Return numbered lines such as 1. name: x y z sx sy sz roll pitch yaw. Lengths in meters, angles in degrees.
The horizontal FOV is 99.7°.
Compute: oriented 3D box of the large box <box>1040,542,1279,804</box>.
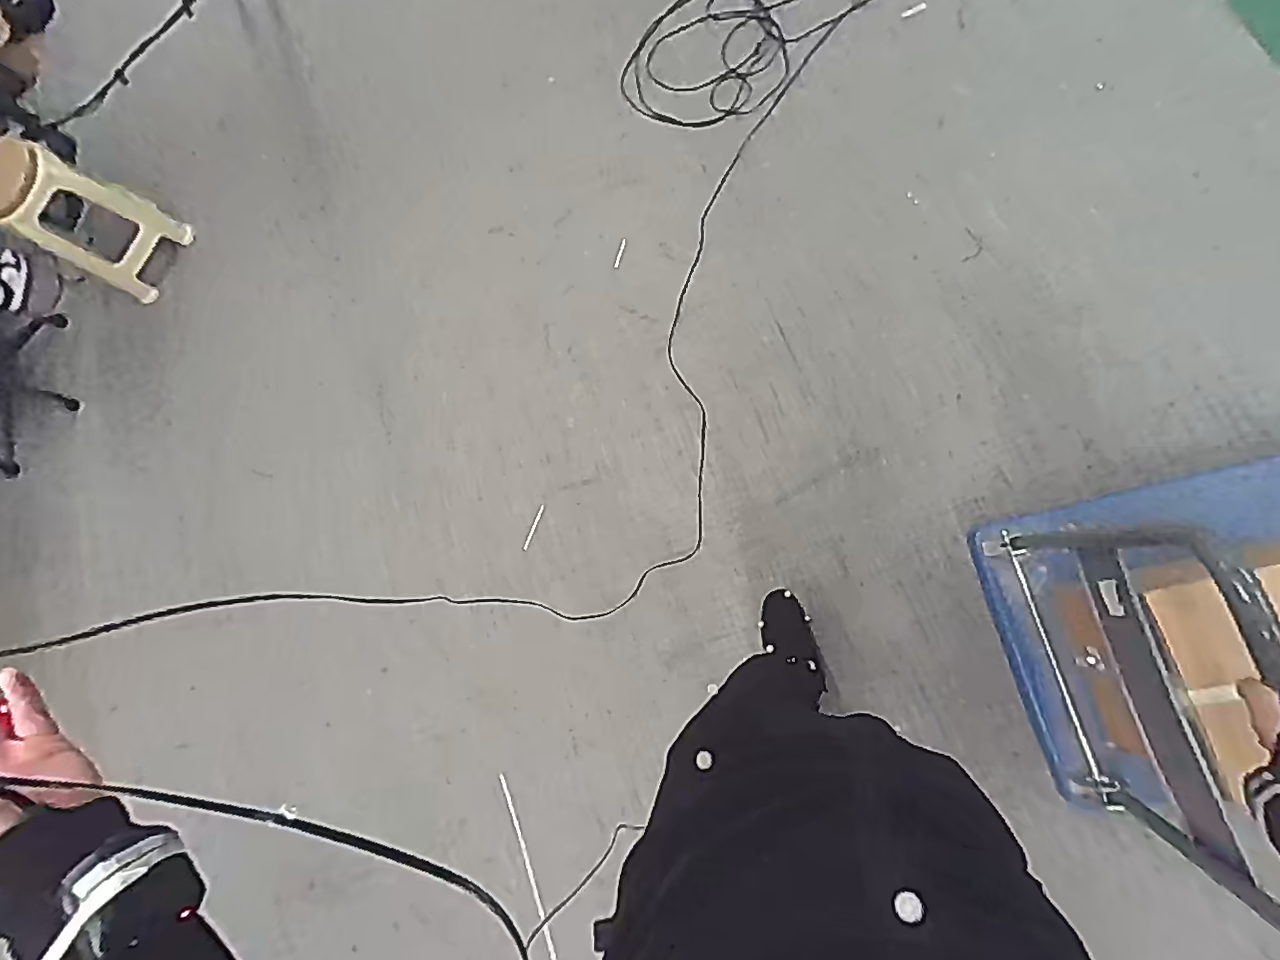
1. large box: 1.022 0.296 0.924 0.408 0.320 0.320 -17 77 11
